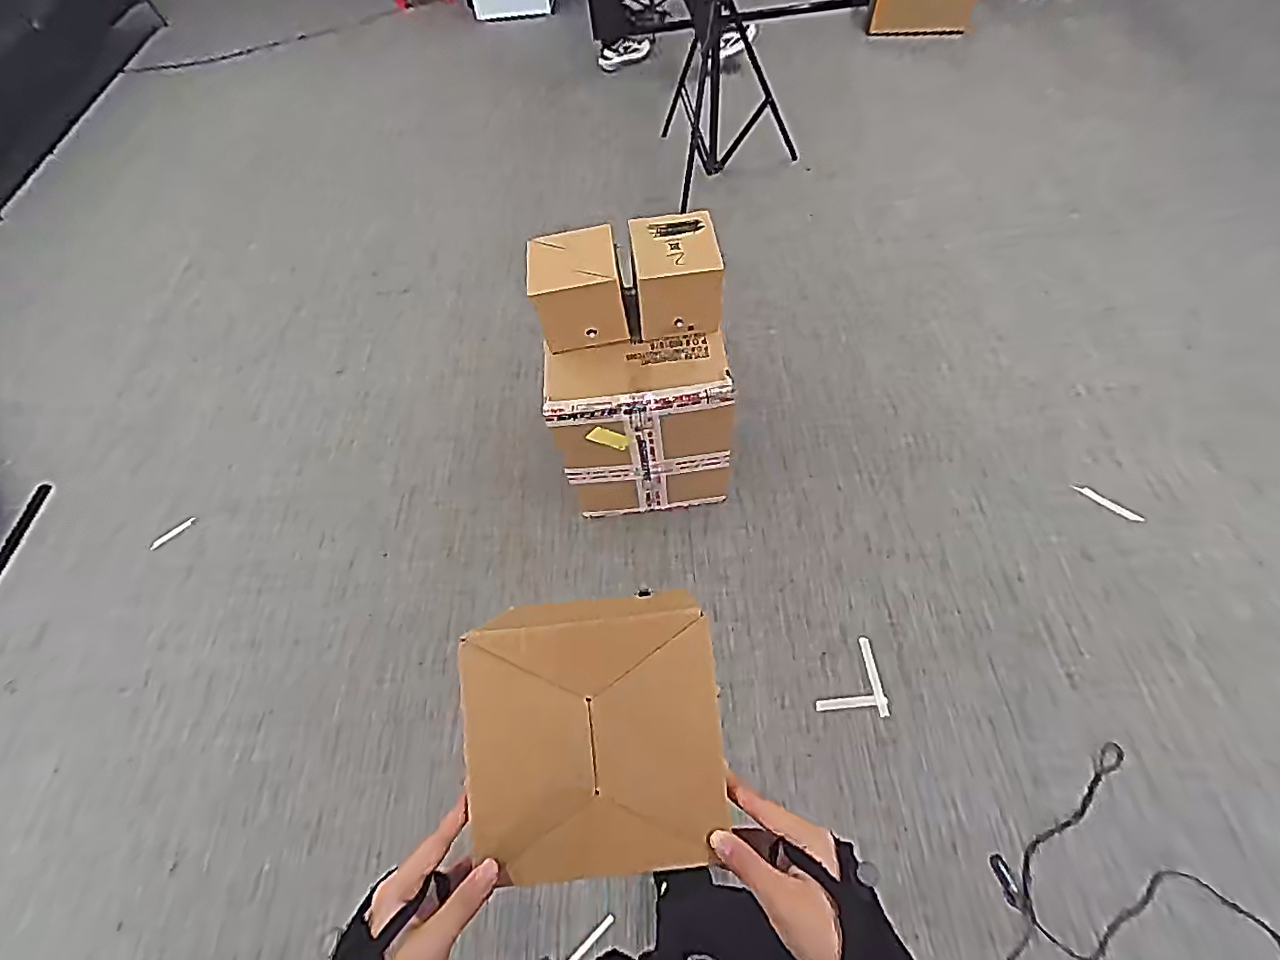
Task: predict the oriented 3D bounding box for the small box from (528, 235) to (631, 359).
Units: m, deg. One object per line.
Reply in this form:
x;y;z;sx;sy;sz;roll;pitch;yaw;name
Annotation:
-0.124;-0.384;1.134;0.179;0.176;0.168;-8;60;4;small box

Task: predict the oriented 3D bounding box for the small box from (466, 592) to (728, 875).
-0.034;0.191;0.452;0.179;0.176;0.168;-6;84;0;small box
